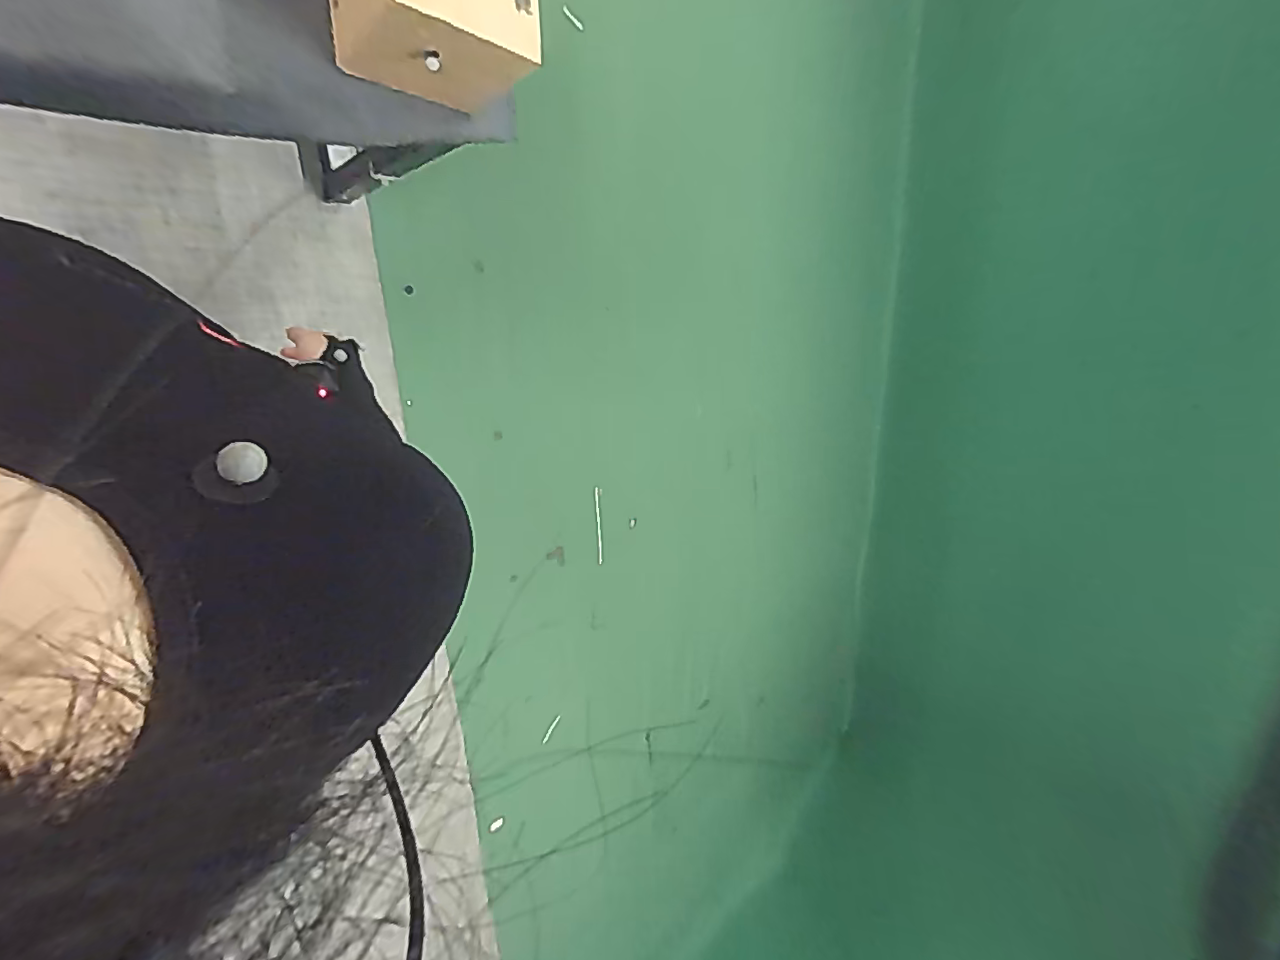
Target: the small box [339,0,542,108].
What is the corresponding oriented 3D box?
[{"bbox_3d":[-0.232,-0.558,0.610,0.179,0.176,0.168,-11,106,-42],"label":"small box"}]
